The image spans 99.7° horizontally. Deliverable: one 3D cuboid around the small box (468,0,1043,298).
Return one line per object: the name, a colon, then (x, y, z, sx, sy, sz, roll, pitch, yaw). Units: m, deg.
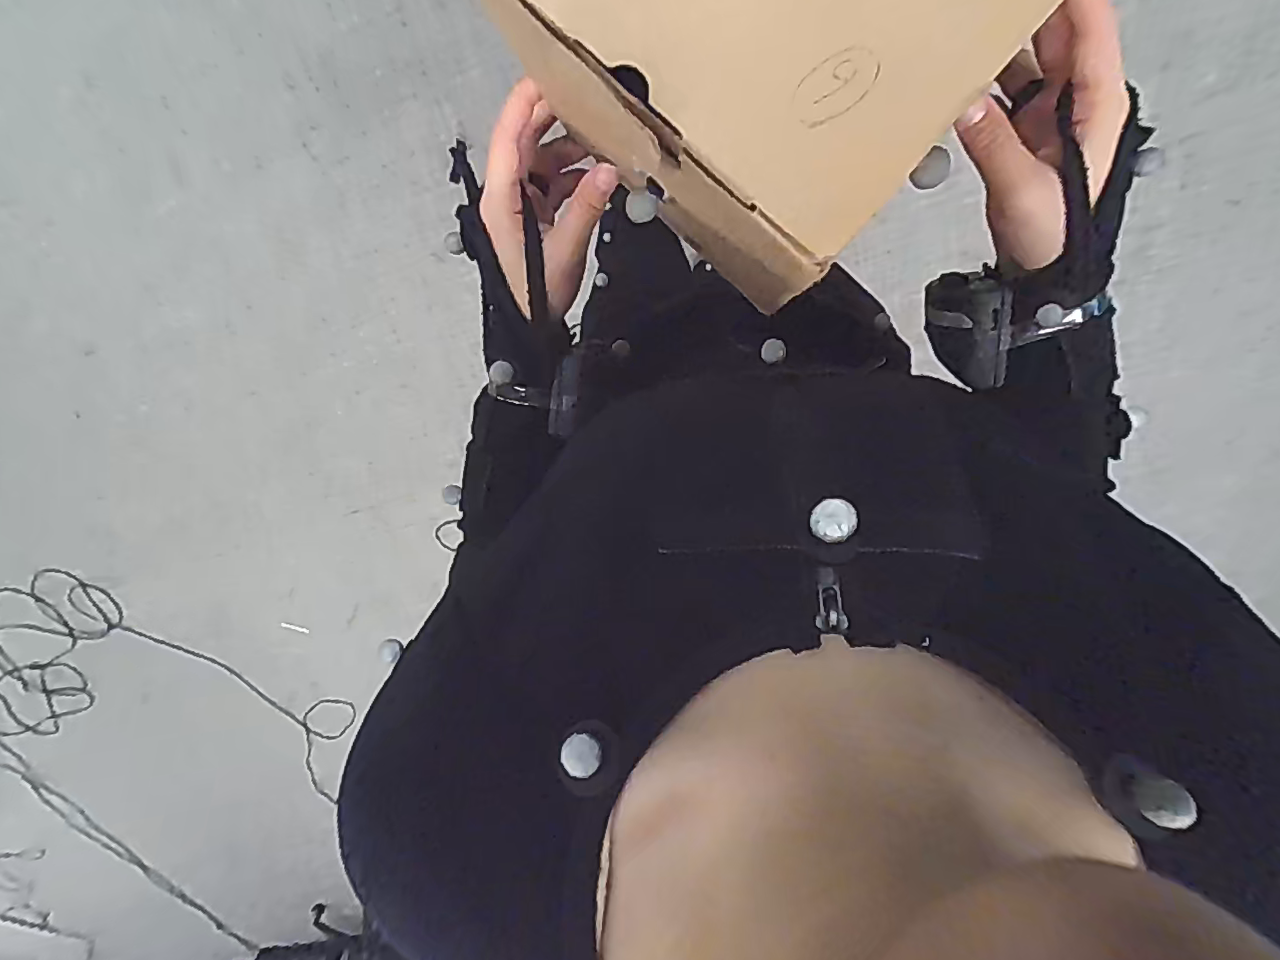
small box: (0.060, -0.202, 0.236, 0.168, 0.176, 0.179, 41, 105, -2)
